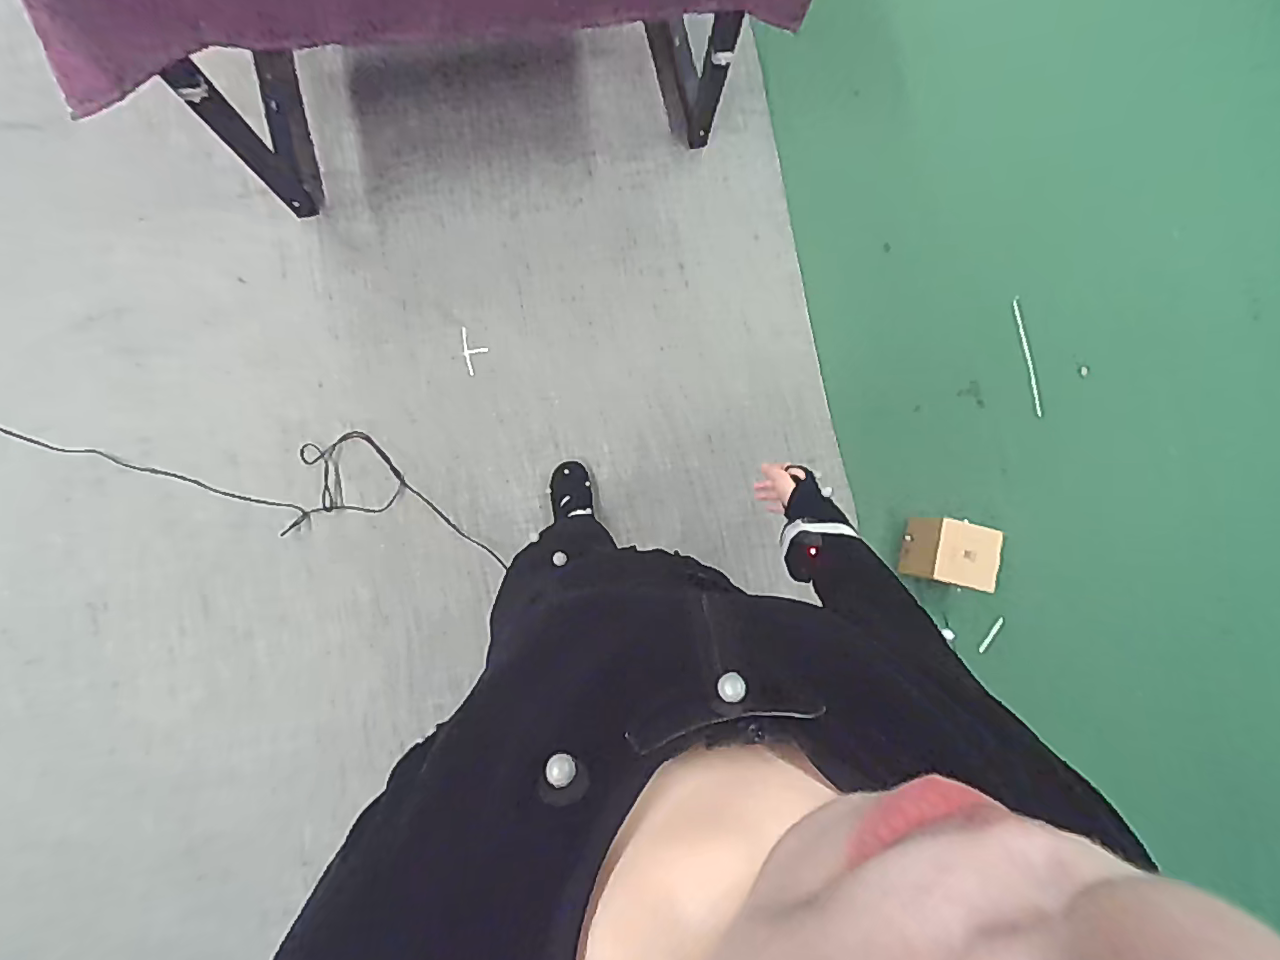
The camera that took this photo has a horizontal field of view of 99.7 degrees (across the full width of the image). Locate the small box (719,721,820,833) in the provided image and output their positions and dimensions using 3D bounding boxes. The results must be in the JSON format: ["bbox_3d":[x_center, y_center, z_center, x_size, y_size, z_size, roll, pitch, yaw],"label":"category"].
[{"bbox_3d":[0.328,0.755,1.398,0.179,0.176,0.168,-22,88,-6],"label":"small box"}]

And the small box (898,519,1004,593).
[{"bbox_3d":[0.852,0.204,1.493,0.179,0.176,0.168,14,84,-4],"label":"small box"}]
